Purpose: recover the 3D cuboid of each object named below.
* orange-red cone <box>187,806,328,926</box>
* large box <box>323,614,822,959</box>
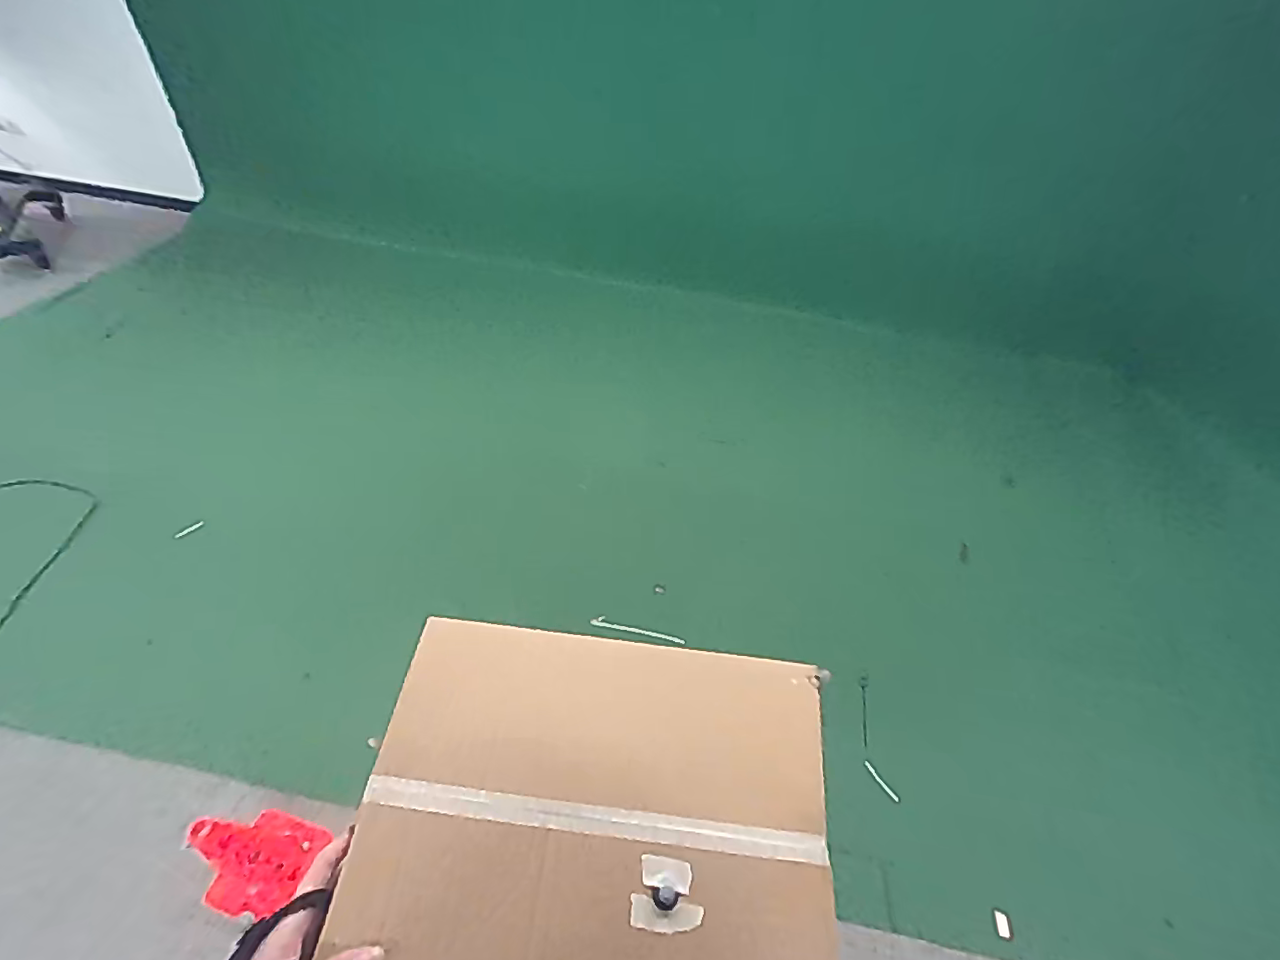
[{"bbox_3d":[-0.857,0.776,1.149,0.199,0.360,0.198,15,45,9],"label":"orange-red cone"},{"bbox_3d":[-0.046,0.370,0.615,0.408,0.320,0.320,7,58,2],"label":"large box"}]
